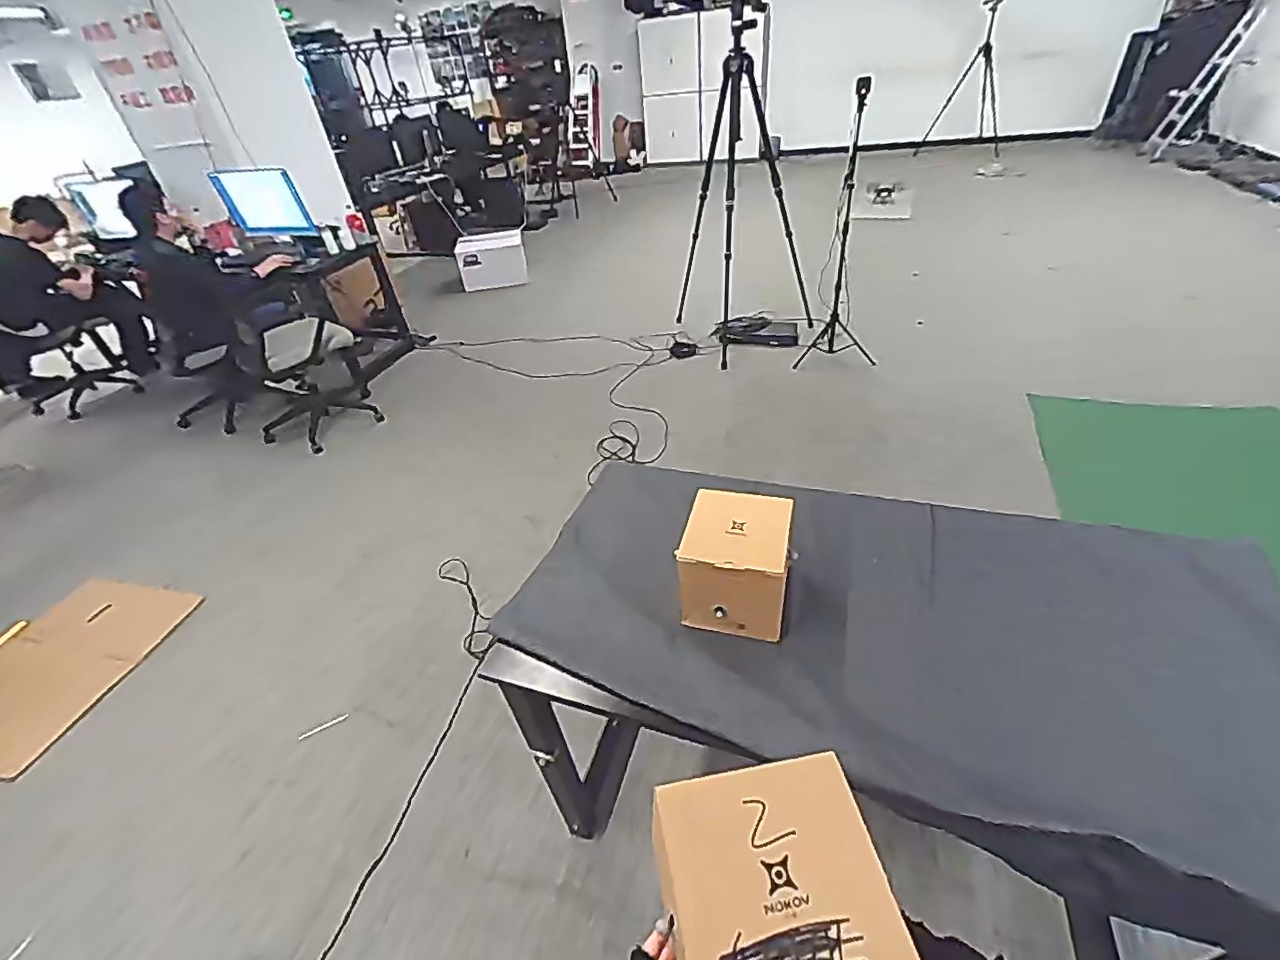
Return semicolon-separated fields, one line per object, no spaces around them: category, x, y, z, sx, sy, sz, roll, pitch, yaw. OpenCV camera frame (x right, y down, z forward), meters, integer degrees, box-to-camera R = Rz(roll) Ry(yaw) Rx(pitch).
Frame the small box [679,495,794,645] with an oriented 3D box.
small box;0.167;0.152;0.937;0.168;0.176;0.179;7;40;16
